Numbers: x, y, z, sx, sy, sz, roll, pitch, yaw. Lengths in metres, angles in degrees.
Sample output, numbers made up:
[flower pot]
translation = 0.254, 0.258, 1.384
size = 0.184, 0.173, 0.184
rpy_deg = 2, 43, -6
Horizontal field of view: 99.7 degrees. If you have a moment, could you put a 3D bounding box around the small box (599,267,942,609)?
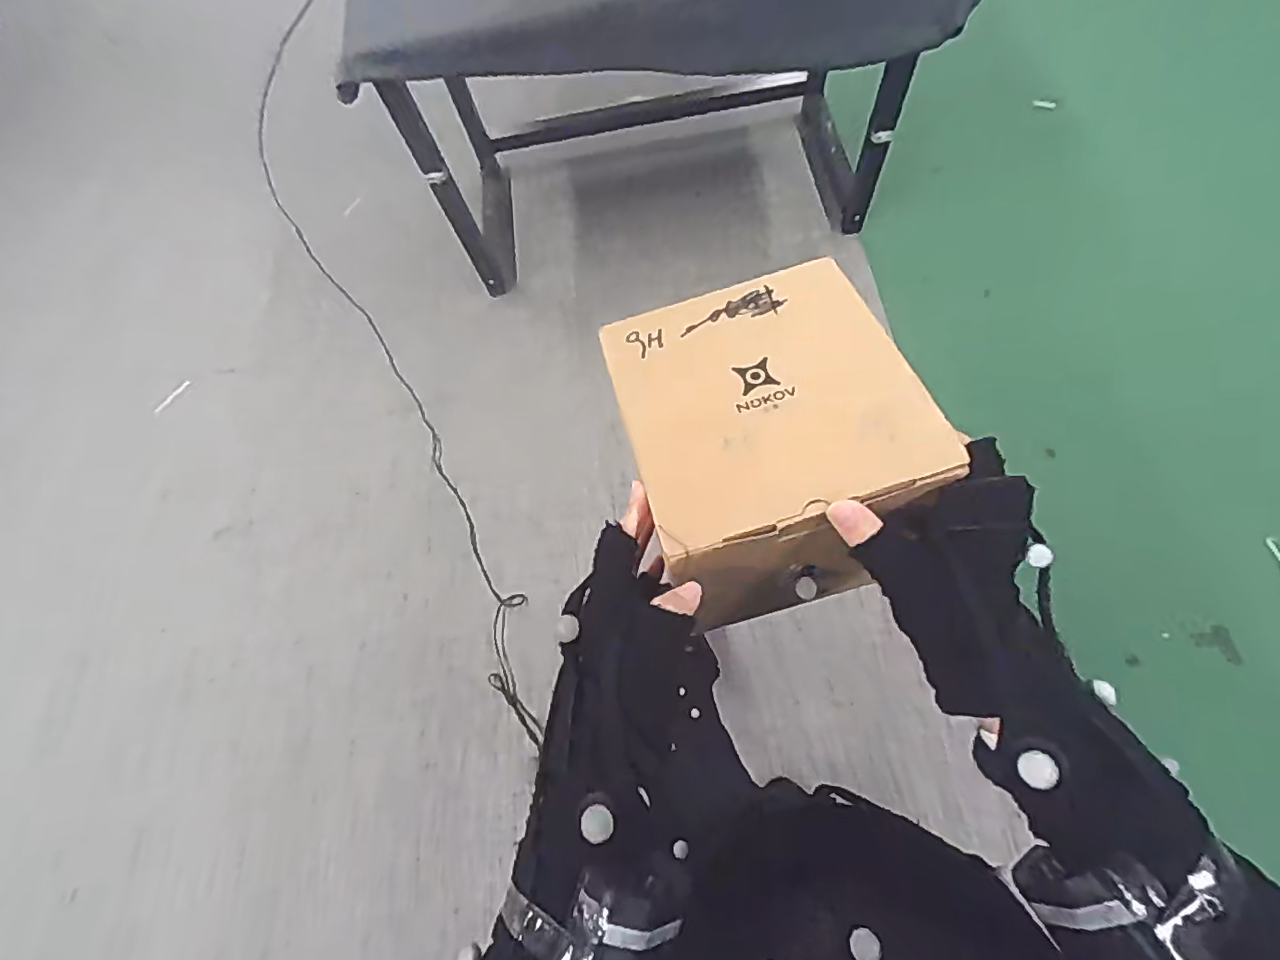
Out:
[small box]
translation = 0.082, -0.016, 0.404
size = 0.168, 0.176, 0.179
rpy_deg = -17, 60, 1
